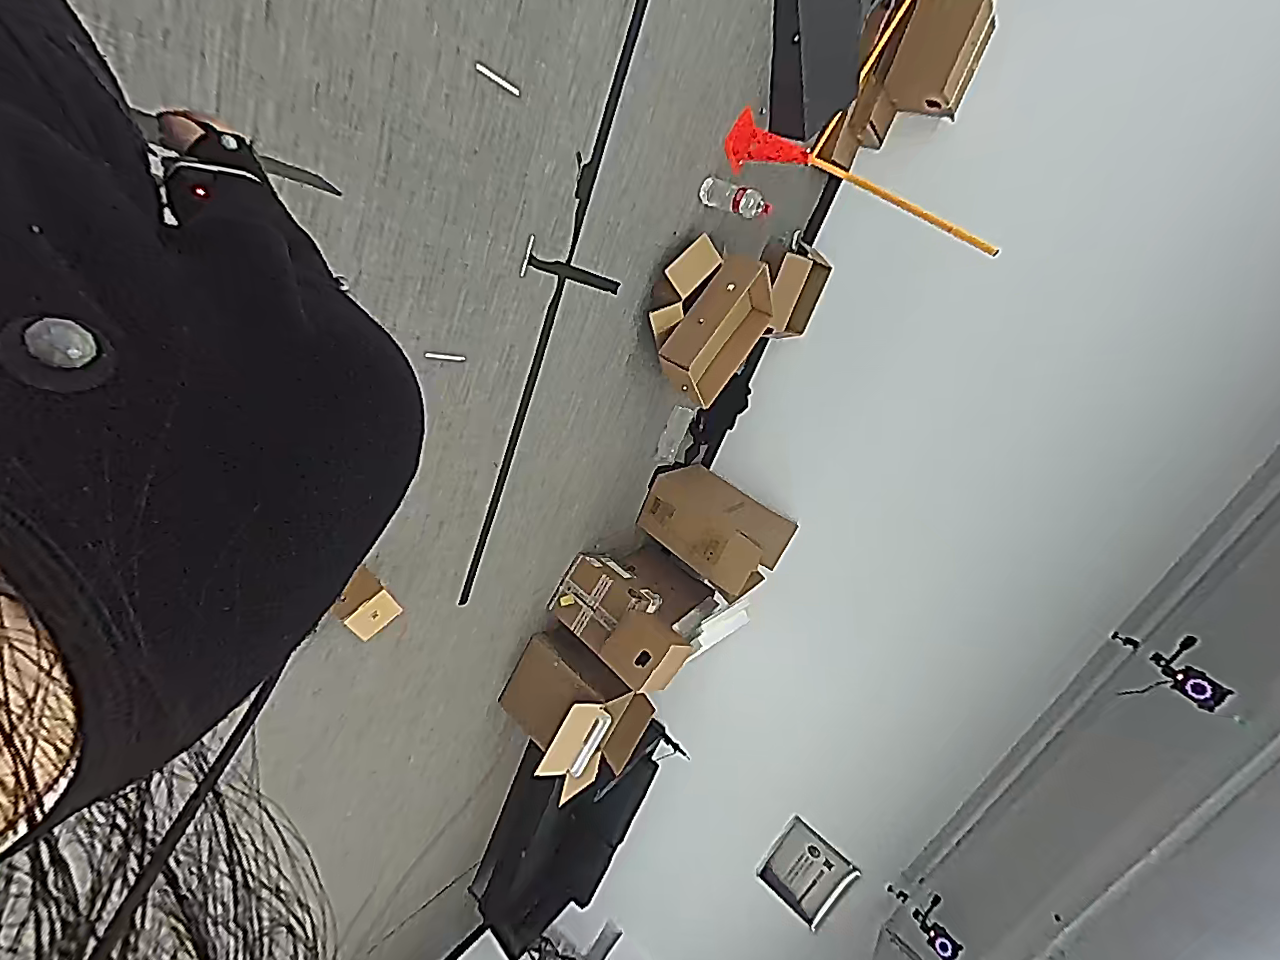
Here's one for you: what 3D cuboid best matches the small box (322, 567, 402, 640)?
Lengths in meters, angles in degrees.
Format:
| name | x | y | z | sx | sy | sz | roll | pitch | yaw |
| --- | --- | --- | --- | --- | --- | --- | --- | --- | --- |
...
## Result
| name | x | y | z | sx | sy | sz | roll | pitch | yaw |
| --- | --- | --- | --- | --- | --- | --- | --- | --- | --- |
| small box | -1.011 | 0.441 | 1.963 | 0.168 | 0.176 | 0.179 | -42 | 151 | -25 |
